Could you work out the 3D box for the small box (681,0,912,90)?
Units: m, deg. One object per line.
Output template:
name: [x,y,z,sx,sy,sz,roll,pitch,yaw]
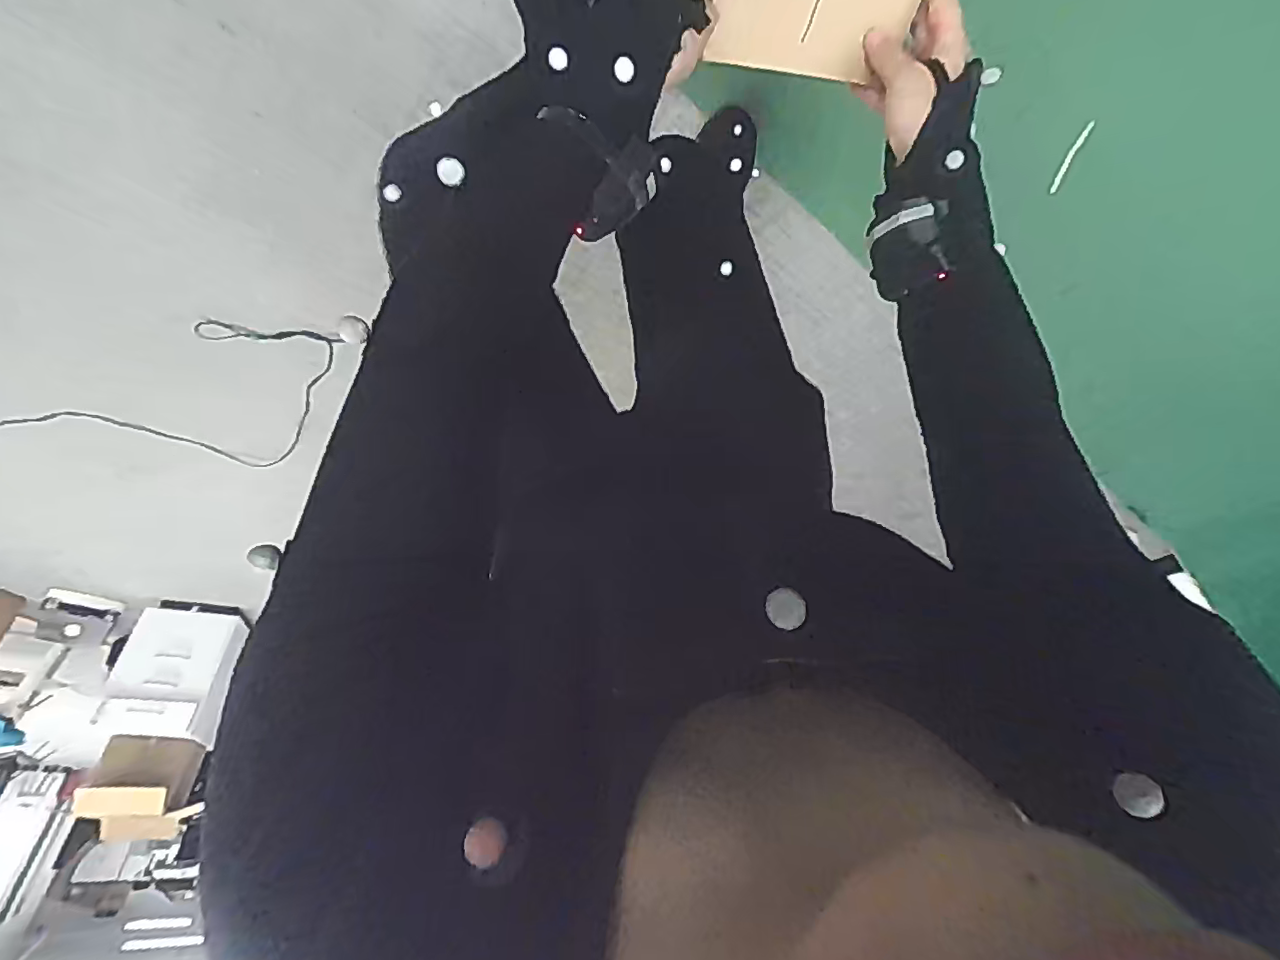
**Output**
small box: [0.132,-0.460,0.446,0.168,0.176,0.179,2,141,-7]
